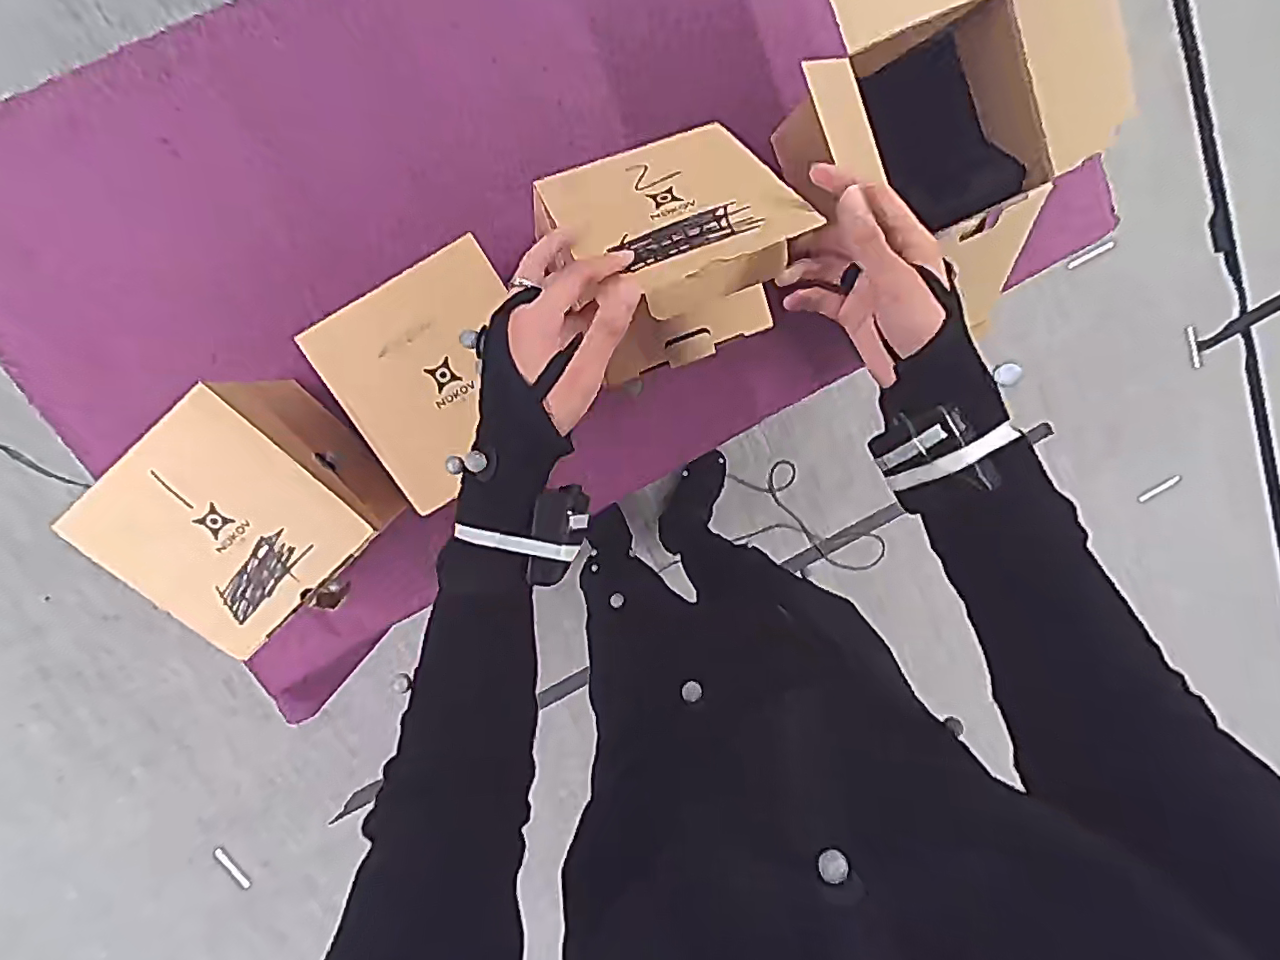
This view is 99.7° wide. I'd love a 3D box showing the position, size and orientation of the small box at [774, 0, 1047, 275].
[{"bbox_3d":[0.264,-0.339,0.562,0.168,0.176,0.179,-26,104,-4],"label":"small box"}]
